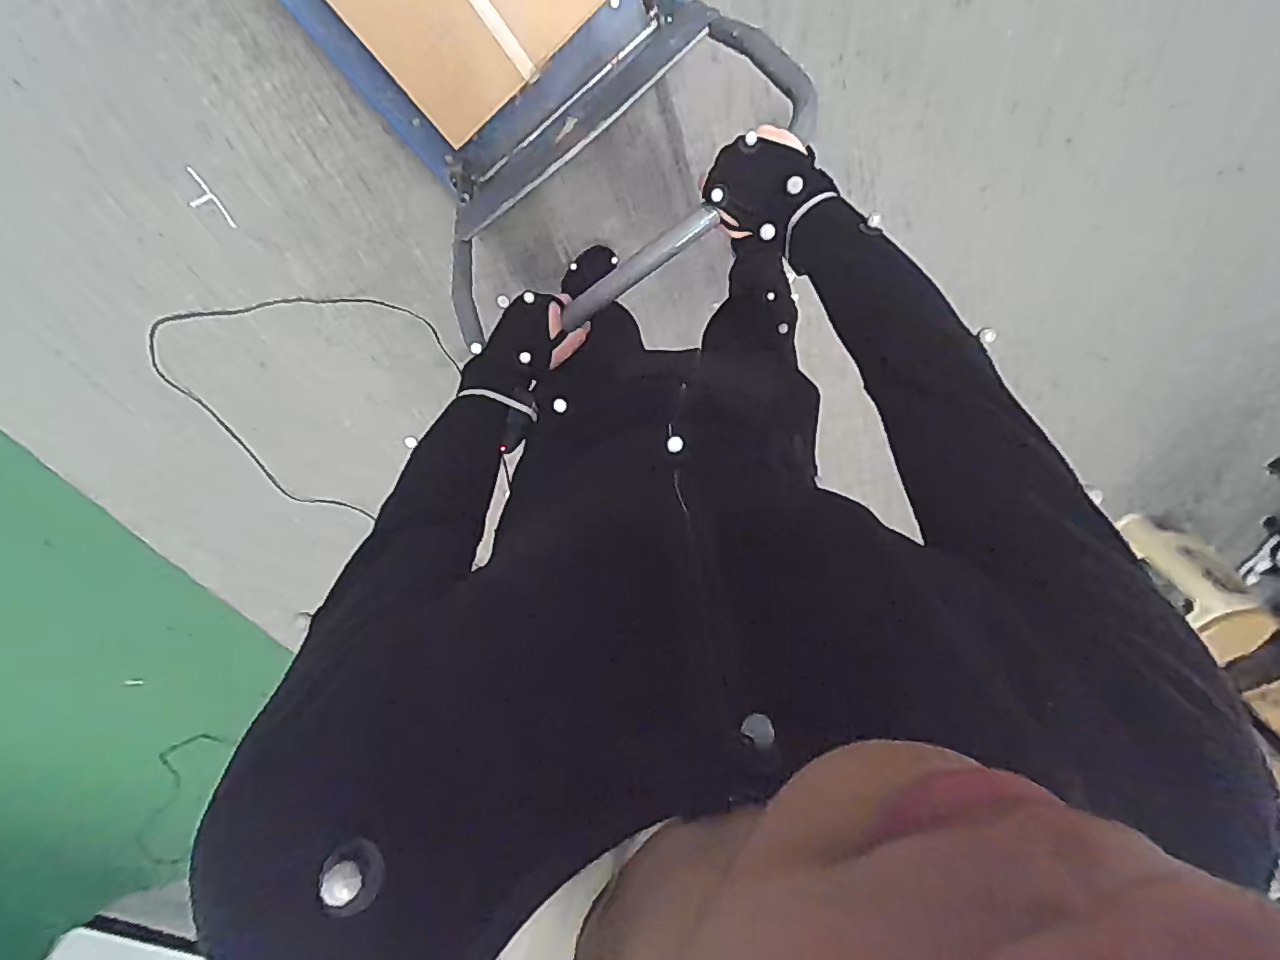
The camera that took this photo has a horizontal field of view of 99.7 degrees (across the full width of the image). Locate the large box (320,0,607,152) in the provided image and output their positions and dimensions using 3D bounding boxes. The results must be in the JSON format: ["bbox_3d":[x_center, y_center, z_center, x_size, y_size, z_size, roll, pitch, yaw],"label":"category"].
[{"bbox_3d":[-0.299,-0.790,0.784,0.320,0.320,0.408,-33,131,18],"label":"large box"}]
